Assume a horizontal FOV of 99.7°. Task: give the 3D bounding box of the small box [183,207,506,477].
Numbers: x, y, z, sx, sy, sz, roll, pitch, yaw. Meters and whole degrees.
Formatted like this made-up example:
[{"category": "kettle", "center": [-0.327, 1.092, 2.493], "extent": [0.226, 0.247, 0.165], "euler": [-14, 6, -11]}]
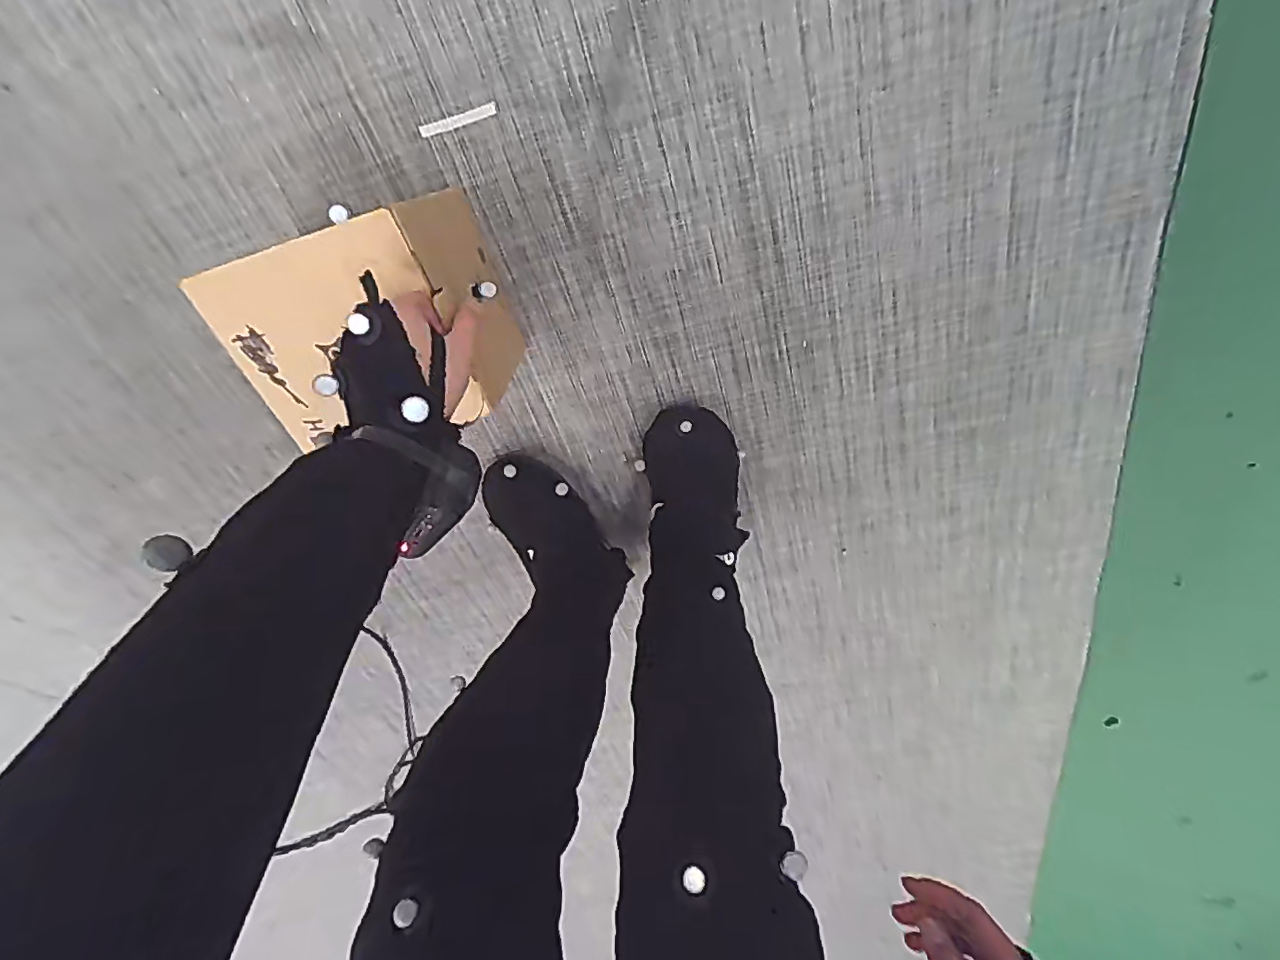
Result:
[{"category": "small box", "center": [-0.235, -0.132, 0.493], "extent": [0.179, 0.176, 0.168], "euler": [-15, 122, 7]}]
